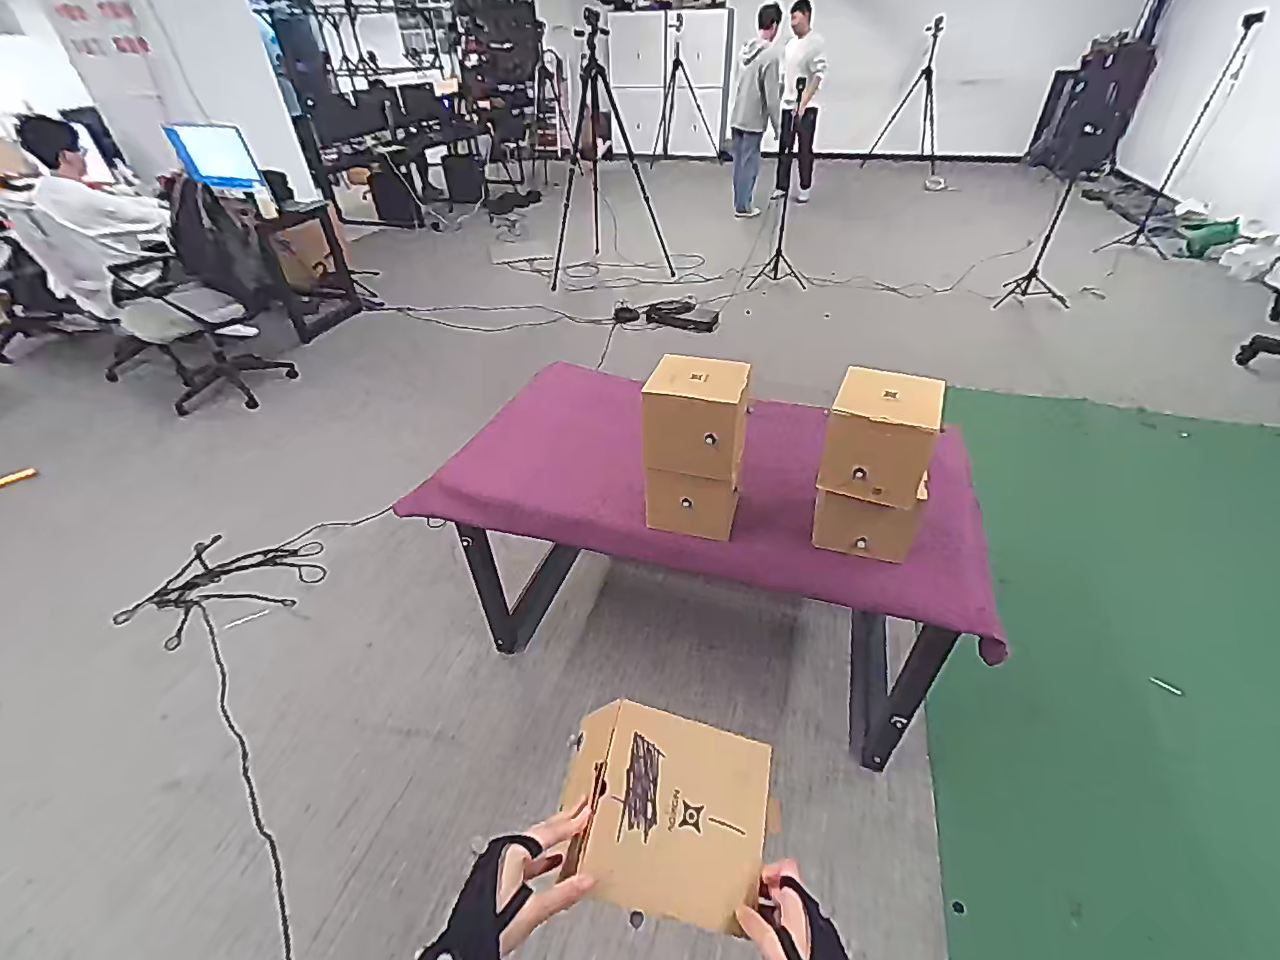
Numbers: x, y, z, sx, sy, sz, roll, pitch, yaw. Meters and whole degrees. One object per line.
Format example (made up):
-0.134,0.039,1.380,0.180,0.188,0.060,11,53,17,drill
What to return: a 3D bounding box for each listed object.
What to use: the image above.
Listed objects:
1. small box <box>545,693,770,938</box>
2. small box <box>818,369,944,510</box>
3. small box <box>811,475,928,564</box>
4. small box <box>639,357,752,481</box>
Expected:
0.013,0.347,0.573,0.179,0.176,0.168,22,56,-8,small box
0.427,-0.075,0.969,0.168,0.176,0.179,15,41,22,small box
0.452,0.045,1.079,0.179,0.176,0.168,10,38,15,small box
0.109,-0.116,1.036,0.179,0.176,0.168,10,38,16,small box
